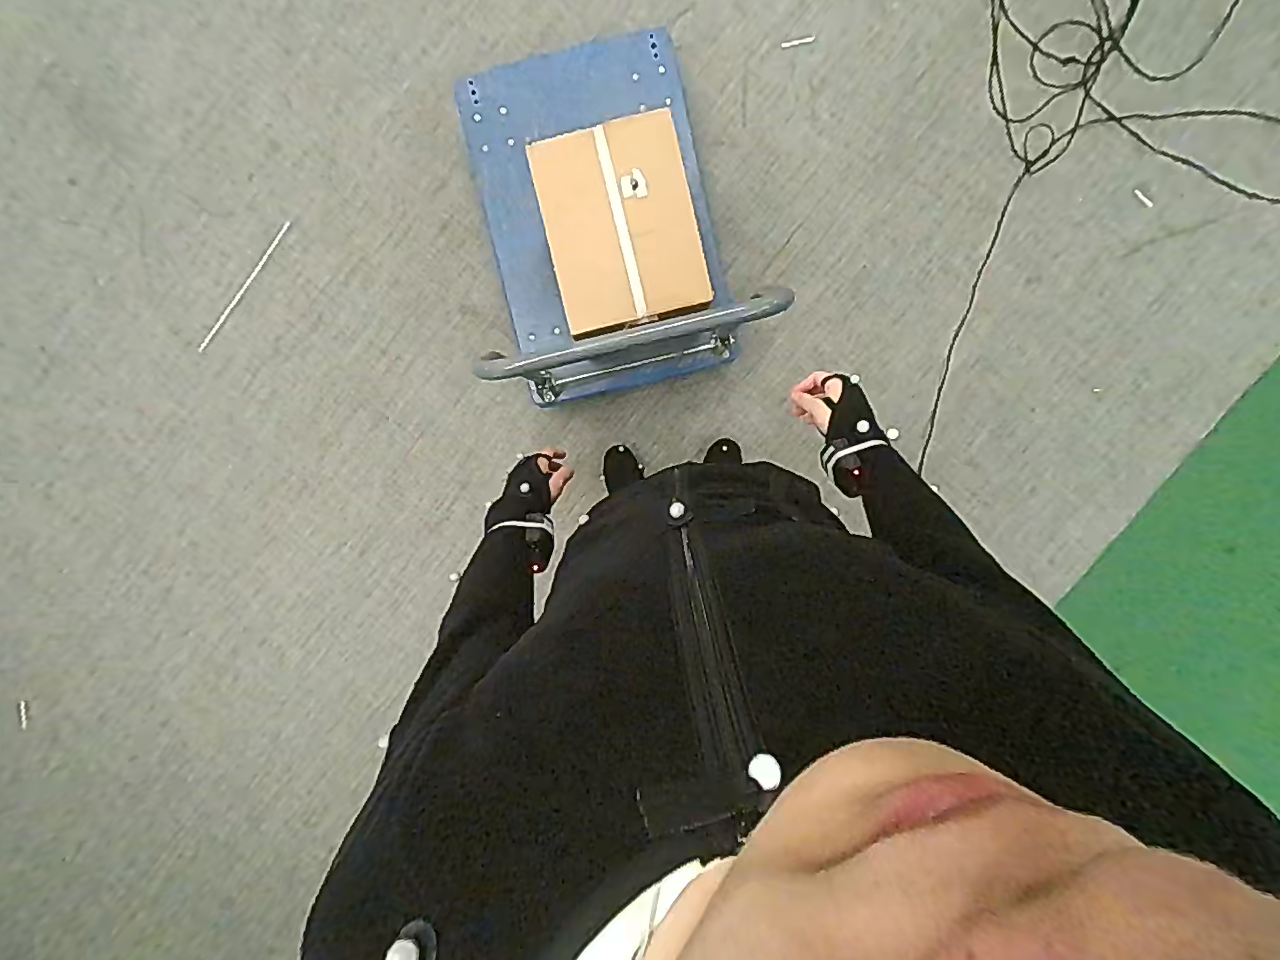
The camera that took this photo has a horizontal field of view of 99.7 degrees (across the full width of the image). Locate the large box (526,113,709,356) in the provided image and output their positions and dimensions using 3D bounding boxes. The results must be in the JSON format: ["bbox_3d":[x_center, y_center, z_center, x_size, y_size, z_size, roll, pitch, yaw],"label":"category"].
[{"bbox_3d":[-0.043,-0.552,1.295,0.320,0.320,0.408,-13,93,1],"label":"large box"}]
